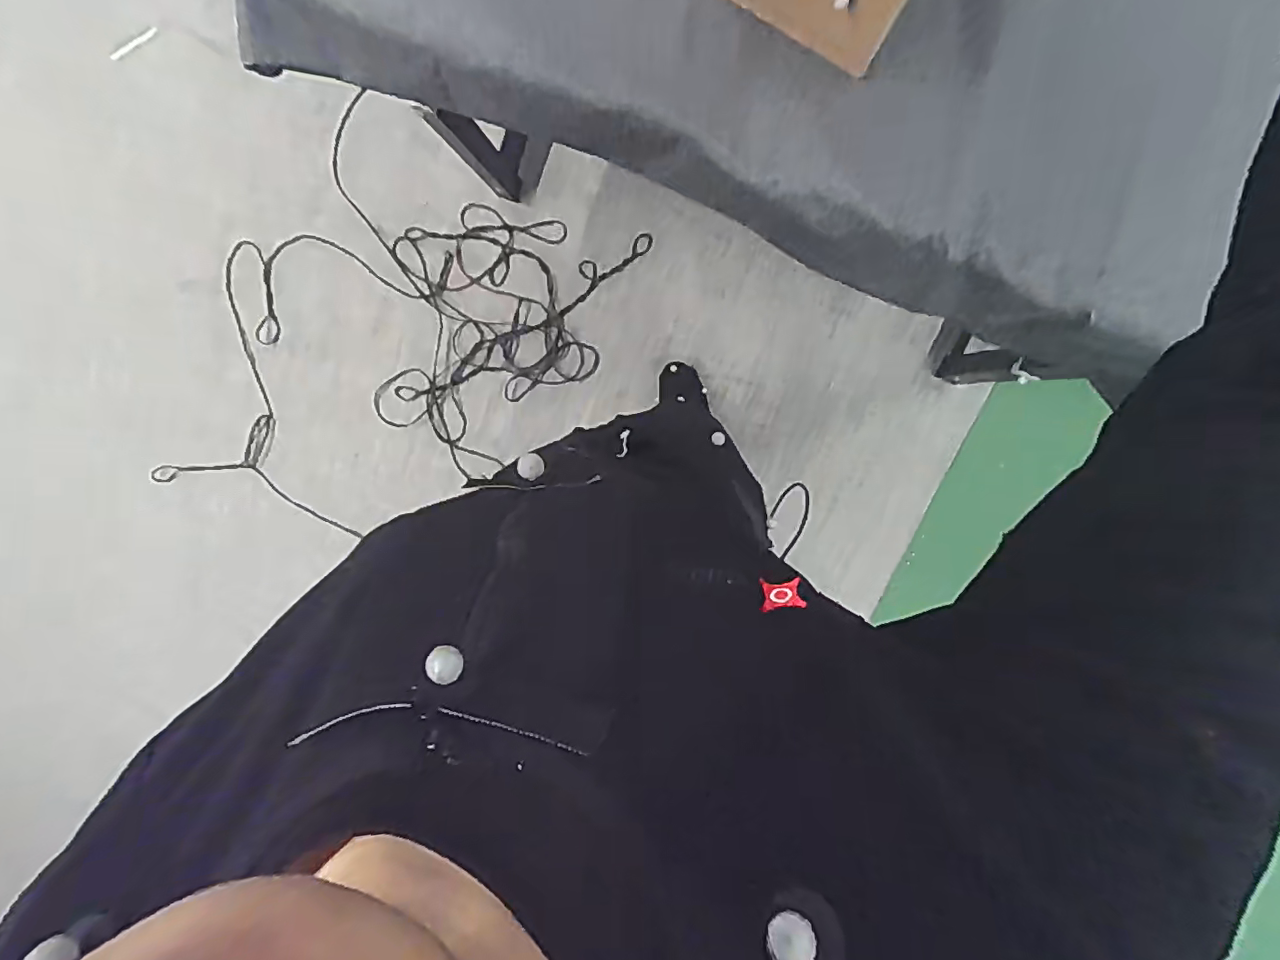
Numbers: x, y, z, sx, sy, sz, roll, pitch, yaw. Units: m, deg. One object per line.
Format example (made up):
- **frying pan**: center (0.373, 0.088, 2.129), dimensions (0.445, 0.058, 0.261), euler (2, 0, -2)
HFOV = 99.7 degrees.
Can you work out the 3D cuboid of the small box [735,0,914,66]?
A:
- **small box**: center (0.188, -0.501, 0.451), dimensions (0.179, 0.176, 0.168), euler (31, 99, 0)
